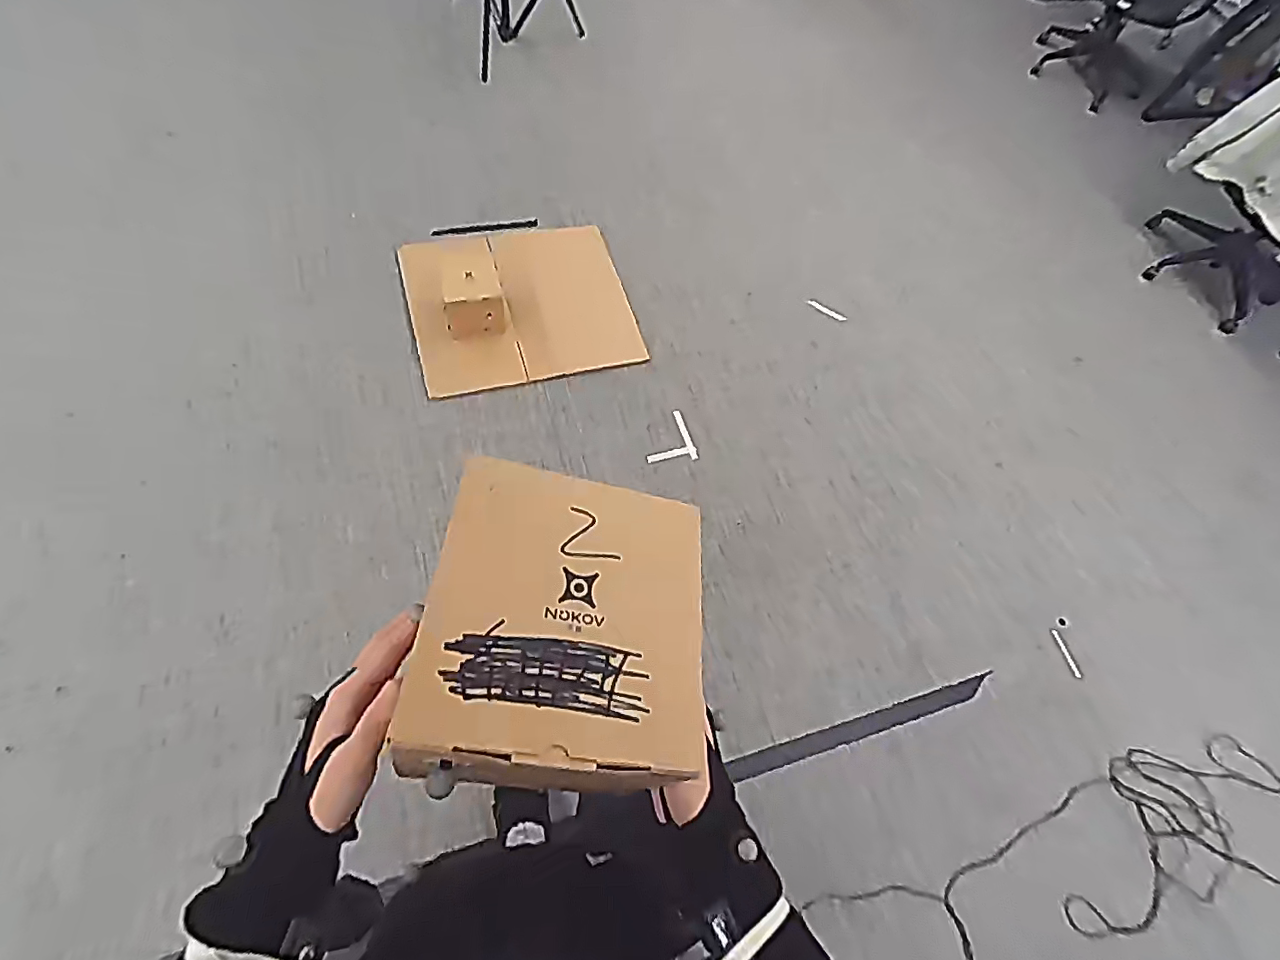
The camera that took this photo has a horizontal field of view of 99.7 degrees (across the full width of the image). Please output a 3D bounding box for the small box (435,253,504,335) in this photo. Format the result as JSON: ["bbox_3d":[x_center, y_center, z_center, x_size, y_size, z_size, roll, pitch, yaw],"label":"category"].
[{"bbox_3d":[-0.517,-0.560,1.649,0.168,0.176,0.179,-12,68,-17],"label":"small box"}]
